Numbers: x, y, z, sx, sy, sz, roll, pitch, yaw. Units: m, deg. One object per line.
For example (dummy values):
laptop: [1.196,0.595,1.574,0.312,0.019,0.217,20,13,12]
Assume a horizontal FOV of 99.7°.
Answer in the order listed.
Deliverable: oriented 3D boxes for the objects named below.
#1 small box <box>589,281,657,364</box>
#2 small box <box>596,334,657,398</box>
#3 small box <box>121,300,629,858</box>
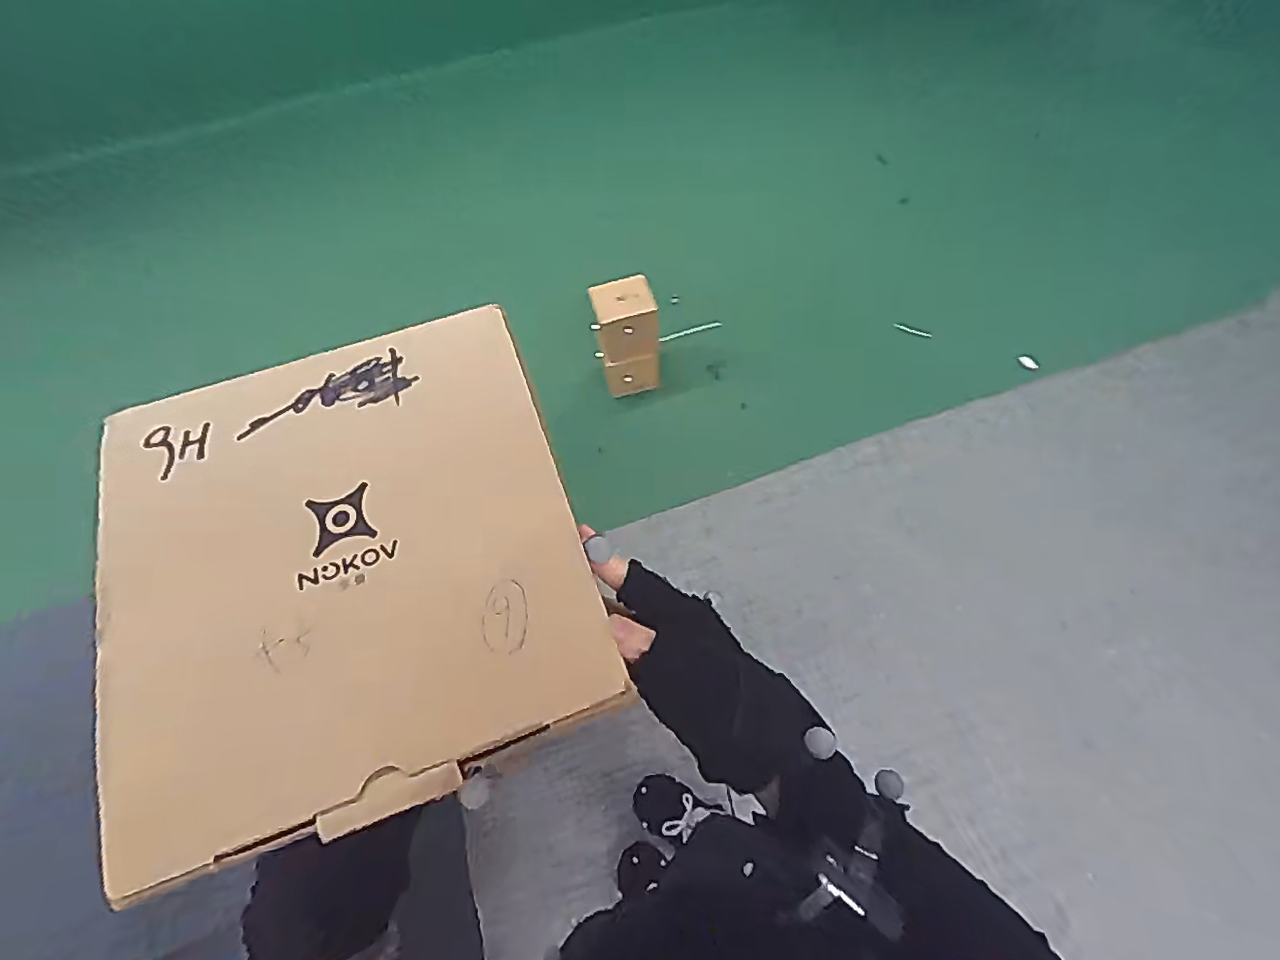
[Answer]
small box: [-0.049,-0.491,1.702,0.179,0.176,0.168,-15,59,-5]
small box: [-0.042,-0.397,1.837,0.168,0.176,0.179,-14,59,-4]
small box: [-0.106,0.047,0.278,0.168,0.176,0.179,-17,68,-8]
